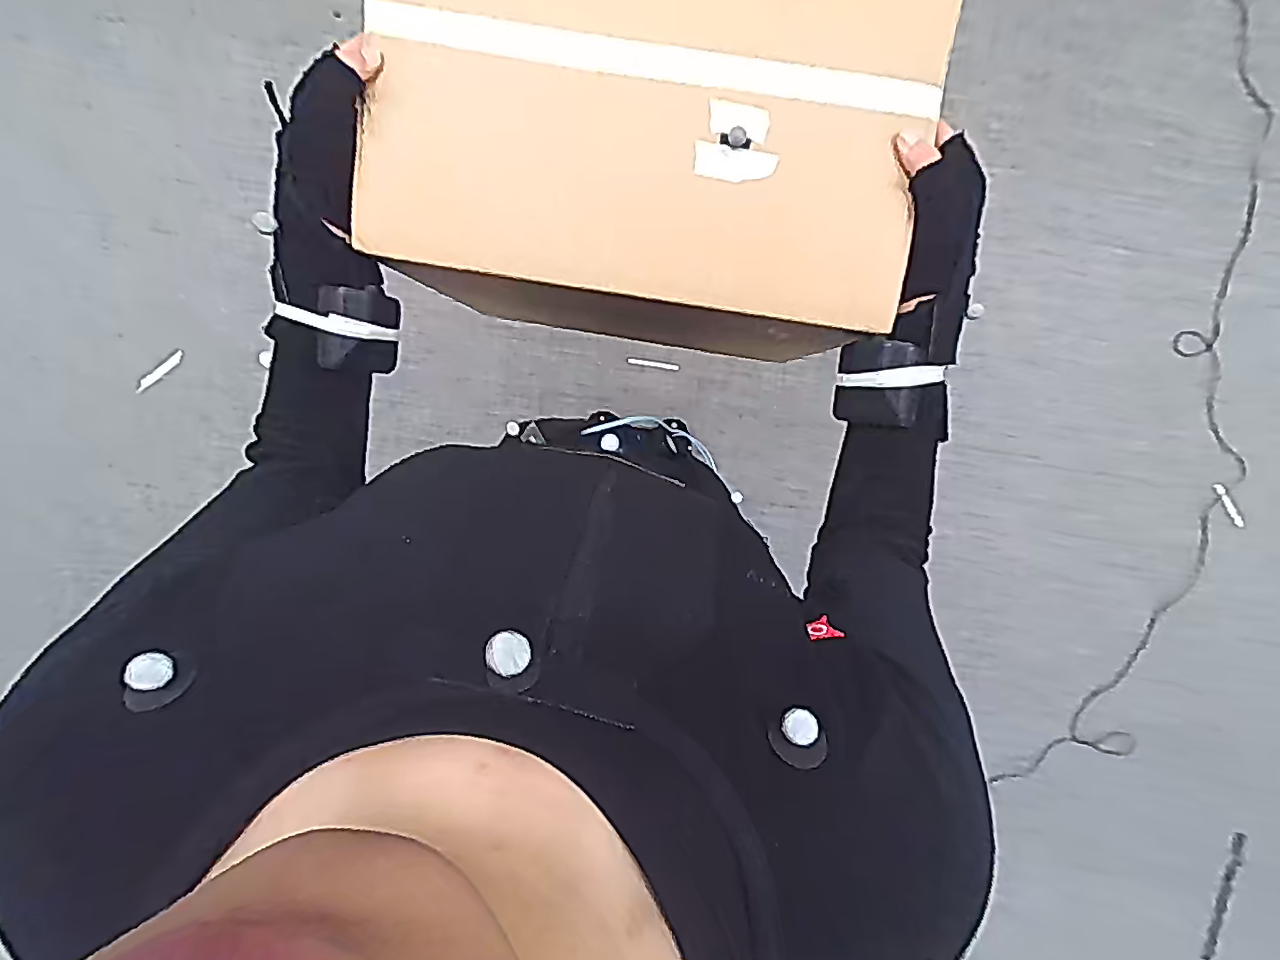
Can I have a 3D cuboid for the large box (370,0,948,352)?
[{"bbox_3d":[0.011,-0.320,0.537,0.408,0.320,0.320,9,99,-1],"label":"large box"}]
